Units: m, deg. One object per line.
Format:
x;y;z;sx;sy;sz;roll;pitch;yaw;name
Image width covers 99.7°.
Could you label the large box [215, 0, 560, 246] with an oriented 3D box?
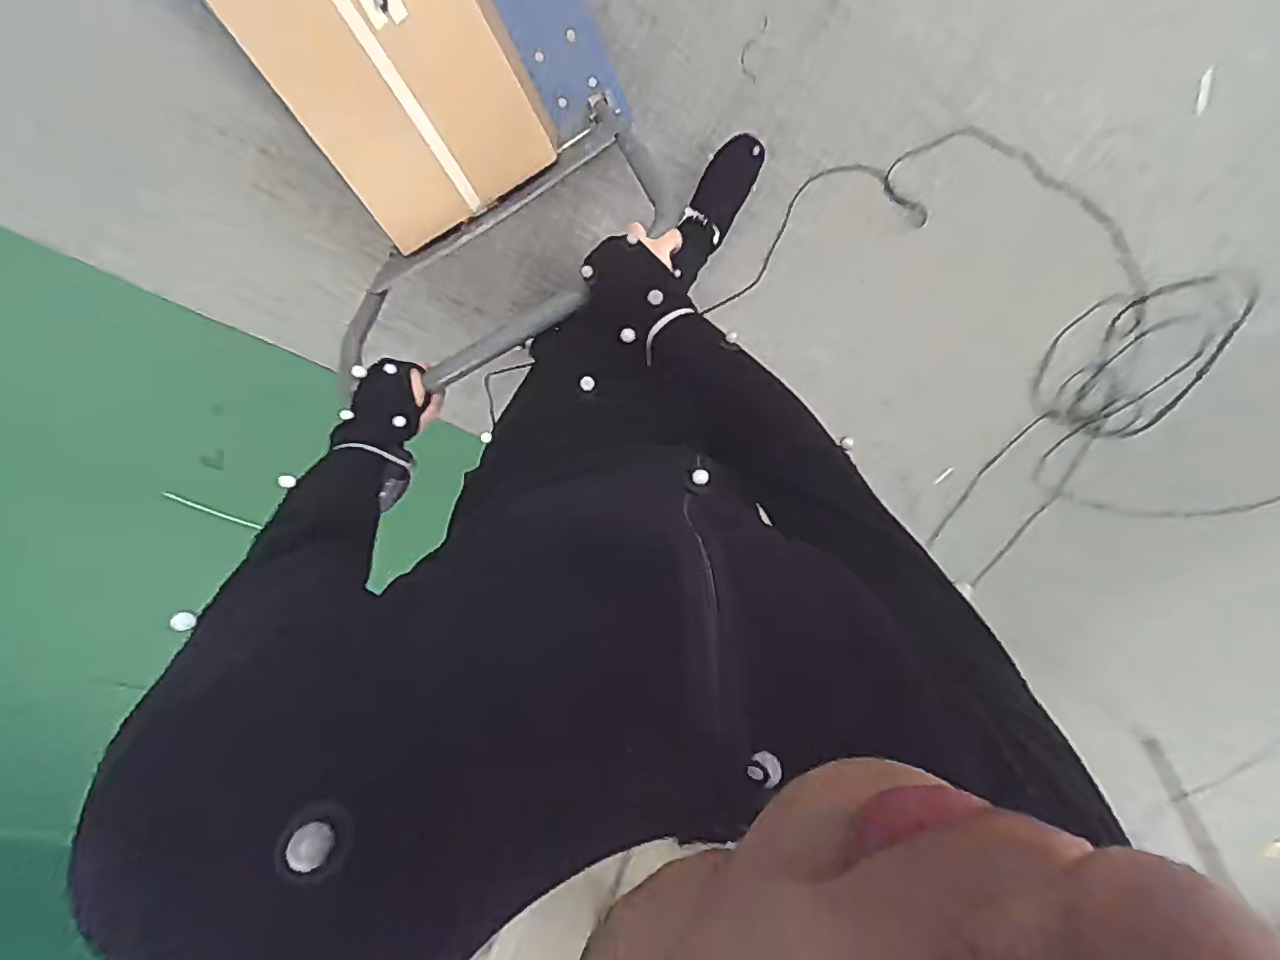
-0.372;-0.686;0.907;0.320;0.320;0.408;-26;126;11;large box
